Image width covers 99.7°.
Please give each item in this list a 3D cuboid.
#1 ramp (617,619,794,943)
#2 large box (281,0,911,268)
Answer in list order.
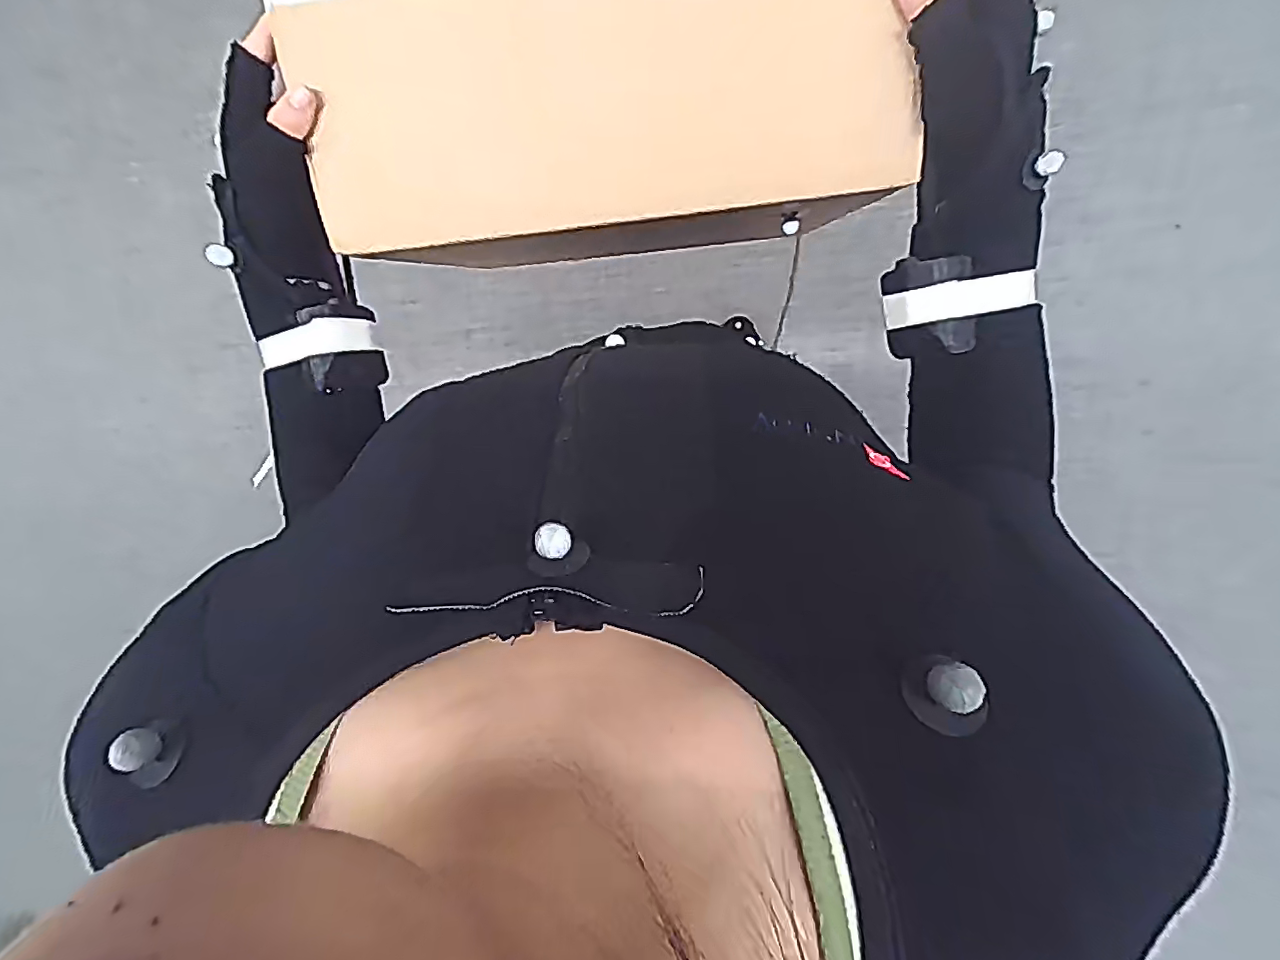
[{"bbox_3d":[0.196,0.910,1.634,0.509,0.206,0.991,-4,104,9],"label":"ramp"},{"bbox_3d":[-0.025,-0.373,0.472,0.408,0.320,0.320,-4,108,5],"label":"large box"}]
